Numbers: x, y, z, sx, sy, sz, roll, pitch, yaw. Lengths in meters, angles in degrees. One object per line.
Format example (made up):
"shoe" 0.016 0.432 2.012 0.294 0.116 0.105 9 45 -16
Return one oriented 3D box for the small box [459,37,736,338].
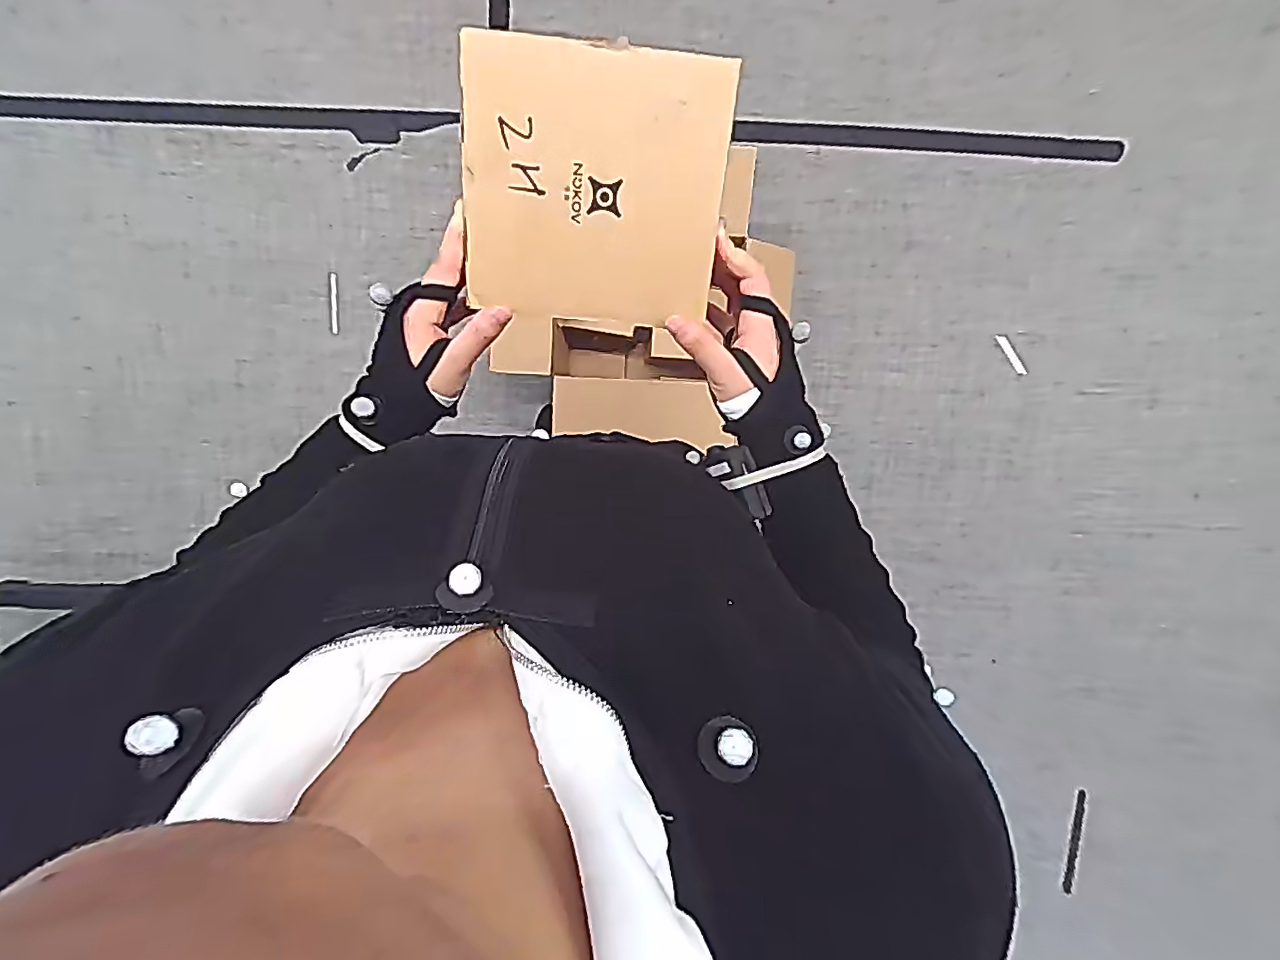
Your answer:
"small box" -0.034 -0.219 0.438 0.179 0.176 0.168 6 112 -2
